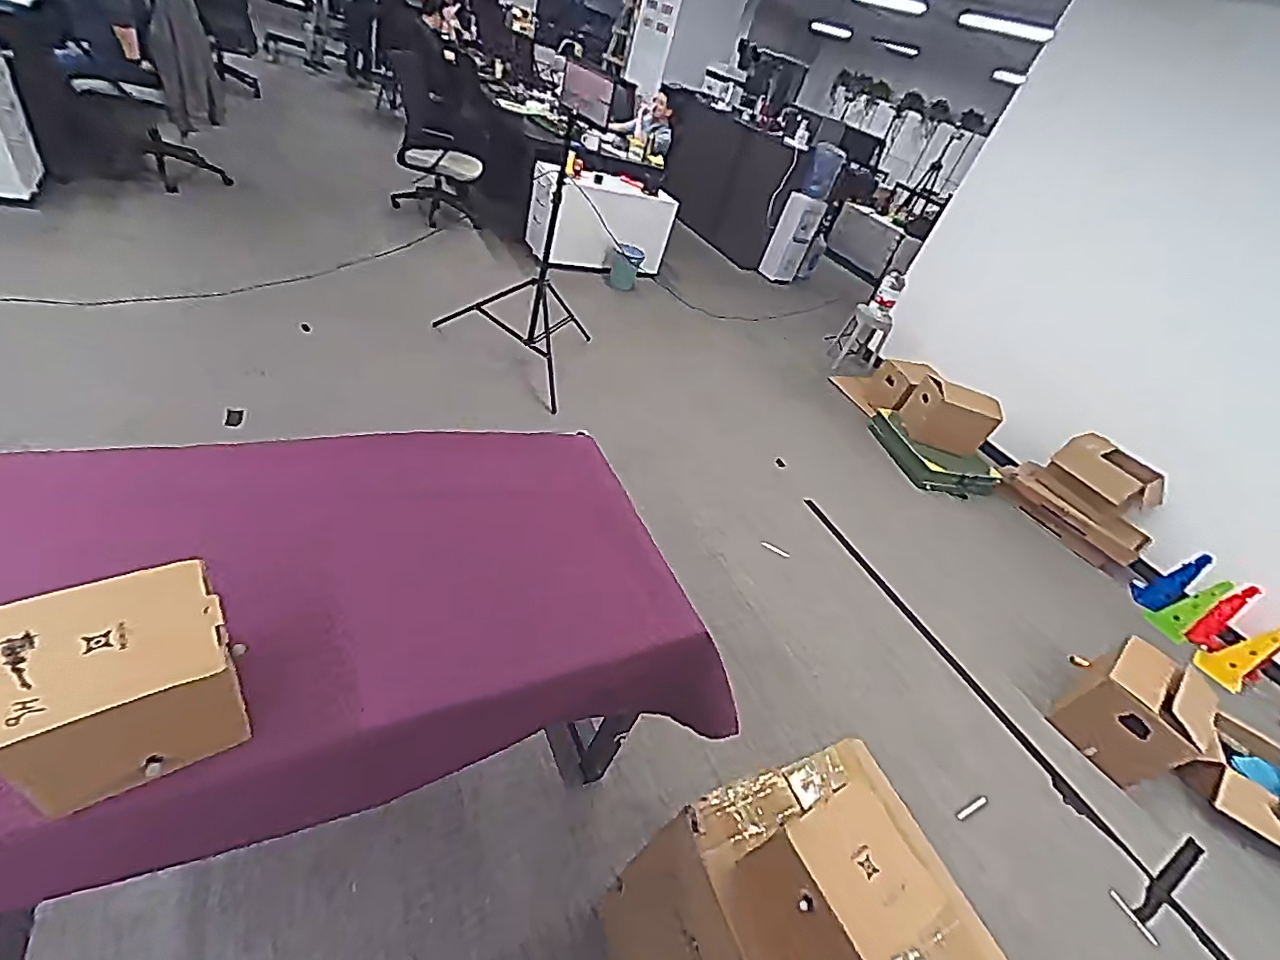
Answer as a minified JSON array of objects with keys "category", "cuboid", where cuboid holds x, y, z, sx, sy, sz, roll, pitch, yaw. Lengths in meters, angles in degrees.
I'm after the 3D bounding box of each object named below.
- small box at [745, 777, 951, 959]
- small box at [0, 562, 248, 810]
[{"category":"small box","cuboid":[0.279,0.568,0.765,0.168,0.176,0.179,-11,49,-31]},{"category":"small box","cuboid":[-0.566,0.226,0.612,0.179,0.176,0.168,-14,49,-38]}]
